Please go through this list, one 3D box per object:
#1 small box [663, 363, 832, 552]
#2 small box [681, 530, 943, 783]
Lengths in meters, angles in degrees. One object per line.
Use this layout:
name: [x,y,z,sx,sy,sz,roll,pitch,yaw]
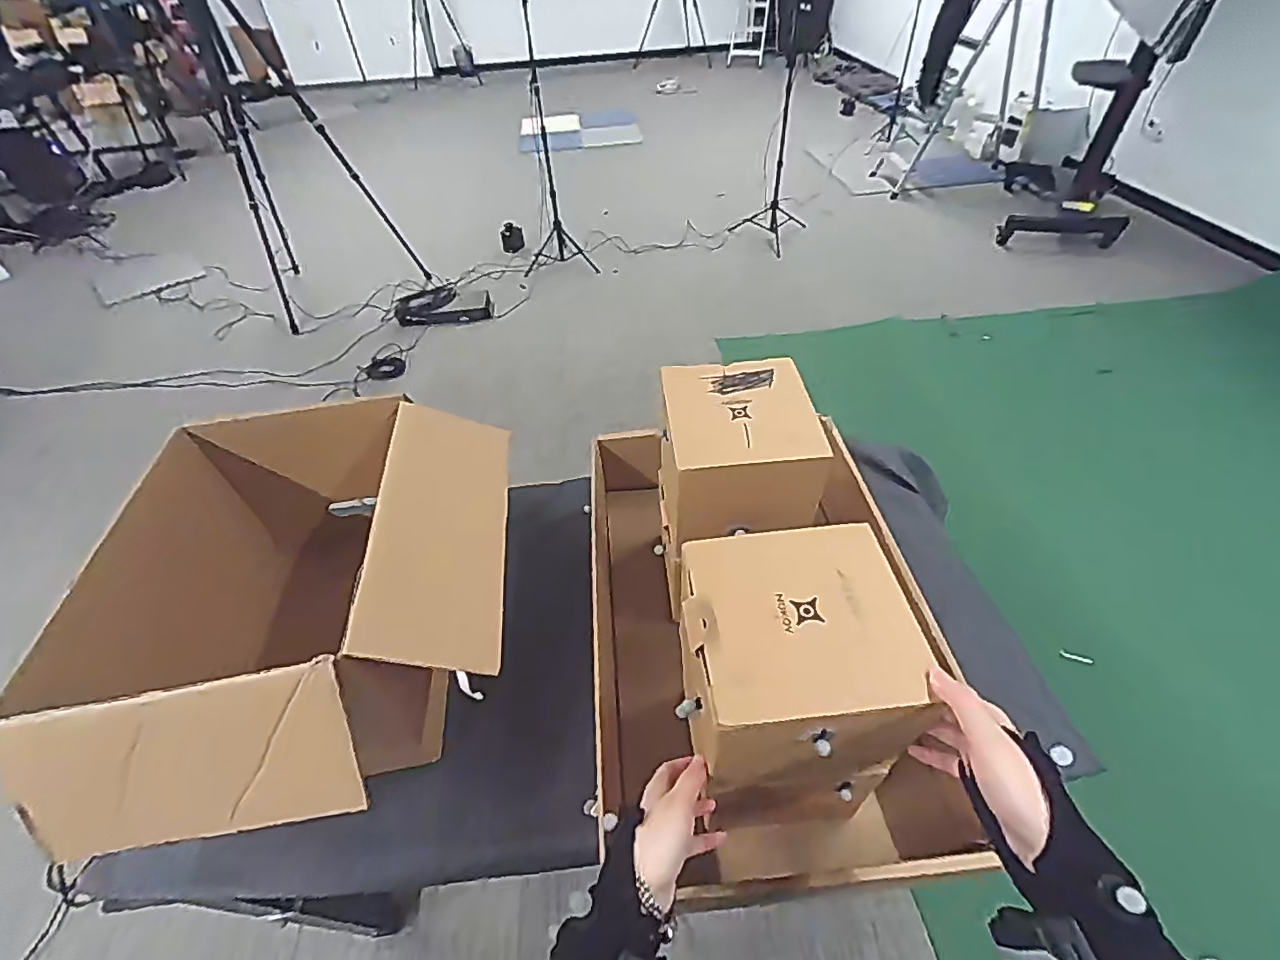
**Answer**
small box: [0.117,-0.023,0.677,0.168,0.176,0.179,-4,49,-1]
small box: [0.134,0.167,0.504,0.179,0.176,0.168,-5,48,-3]
